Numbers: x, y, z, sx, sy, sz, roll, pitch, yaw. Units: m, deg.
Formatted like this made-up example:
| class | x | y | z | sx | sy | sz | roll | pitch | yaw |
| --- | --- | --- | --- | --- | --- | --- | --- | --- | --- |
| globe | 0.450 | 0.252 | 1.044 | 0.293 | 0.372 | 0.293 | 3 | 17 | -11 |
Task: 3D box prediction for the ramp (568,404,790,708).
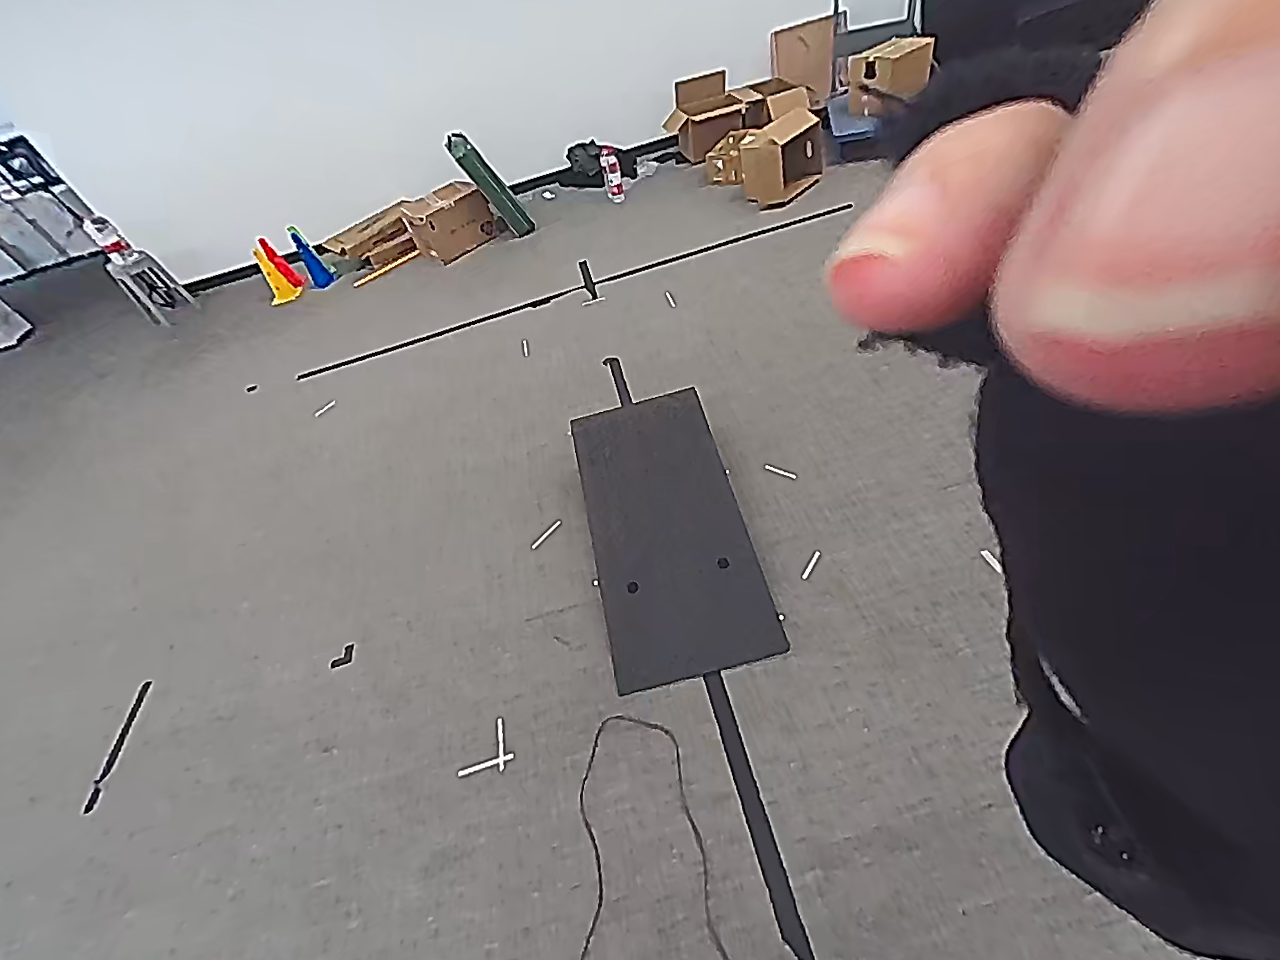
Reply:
| class | x | y | z | sx | sy | sz | roll | pitch | yaw |
| --- | --- | --- | --- | --- | --- | --- | --- | --- | --- |
| ramp | 0.075 | 0.173 | 1.772 | 0.509 | 0.206 | 0.991 | -17 | 45 | -1 |
